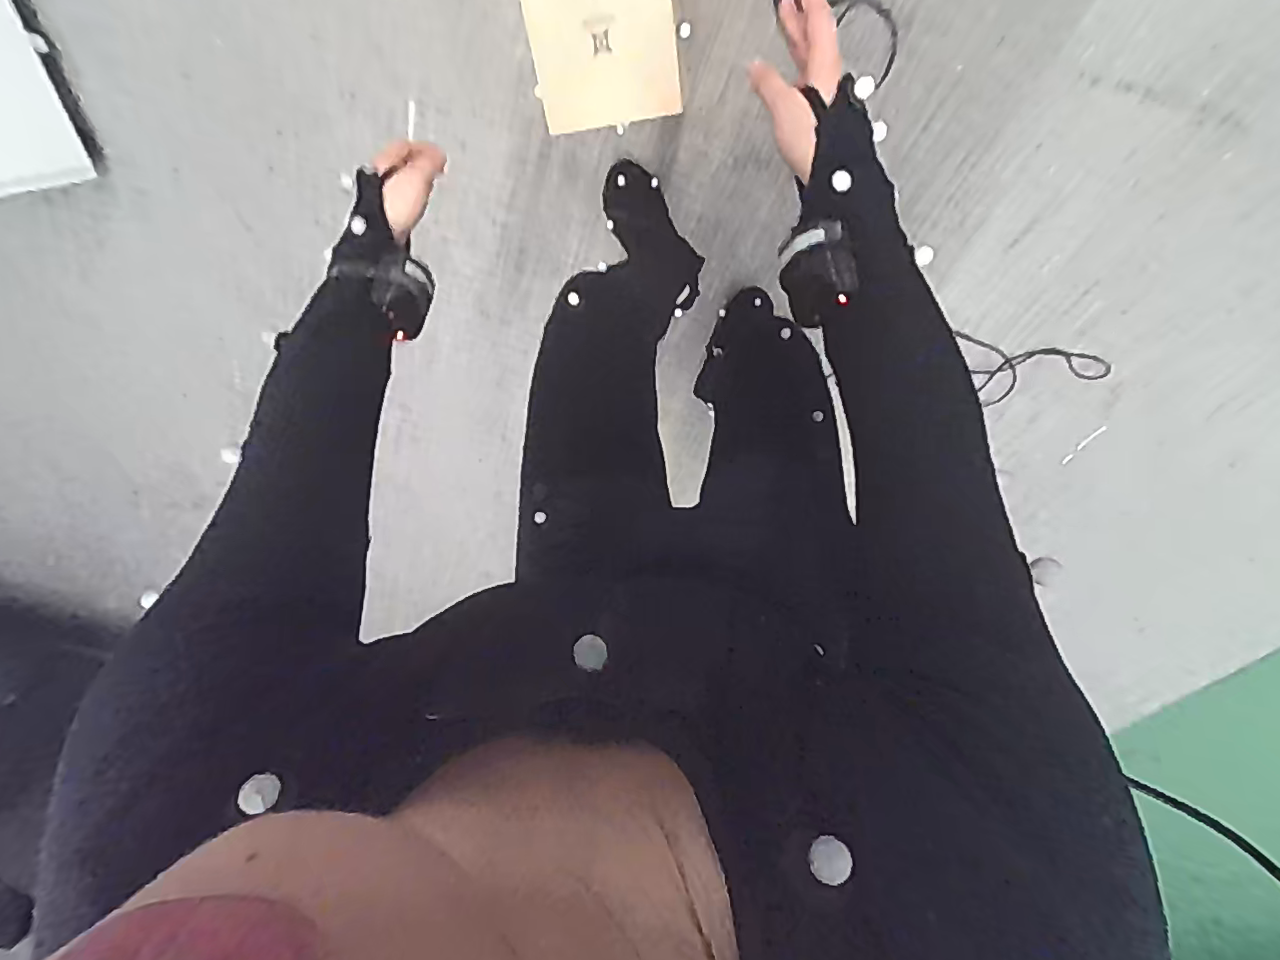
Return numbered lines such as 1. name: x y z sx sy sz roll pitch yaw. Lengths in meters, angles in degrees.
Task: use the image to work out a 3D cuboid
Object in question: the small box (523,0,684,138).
1. small box: -0.035 -0.550 0.675 0.168 0.176 0.179 -4 126 9
